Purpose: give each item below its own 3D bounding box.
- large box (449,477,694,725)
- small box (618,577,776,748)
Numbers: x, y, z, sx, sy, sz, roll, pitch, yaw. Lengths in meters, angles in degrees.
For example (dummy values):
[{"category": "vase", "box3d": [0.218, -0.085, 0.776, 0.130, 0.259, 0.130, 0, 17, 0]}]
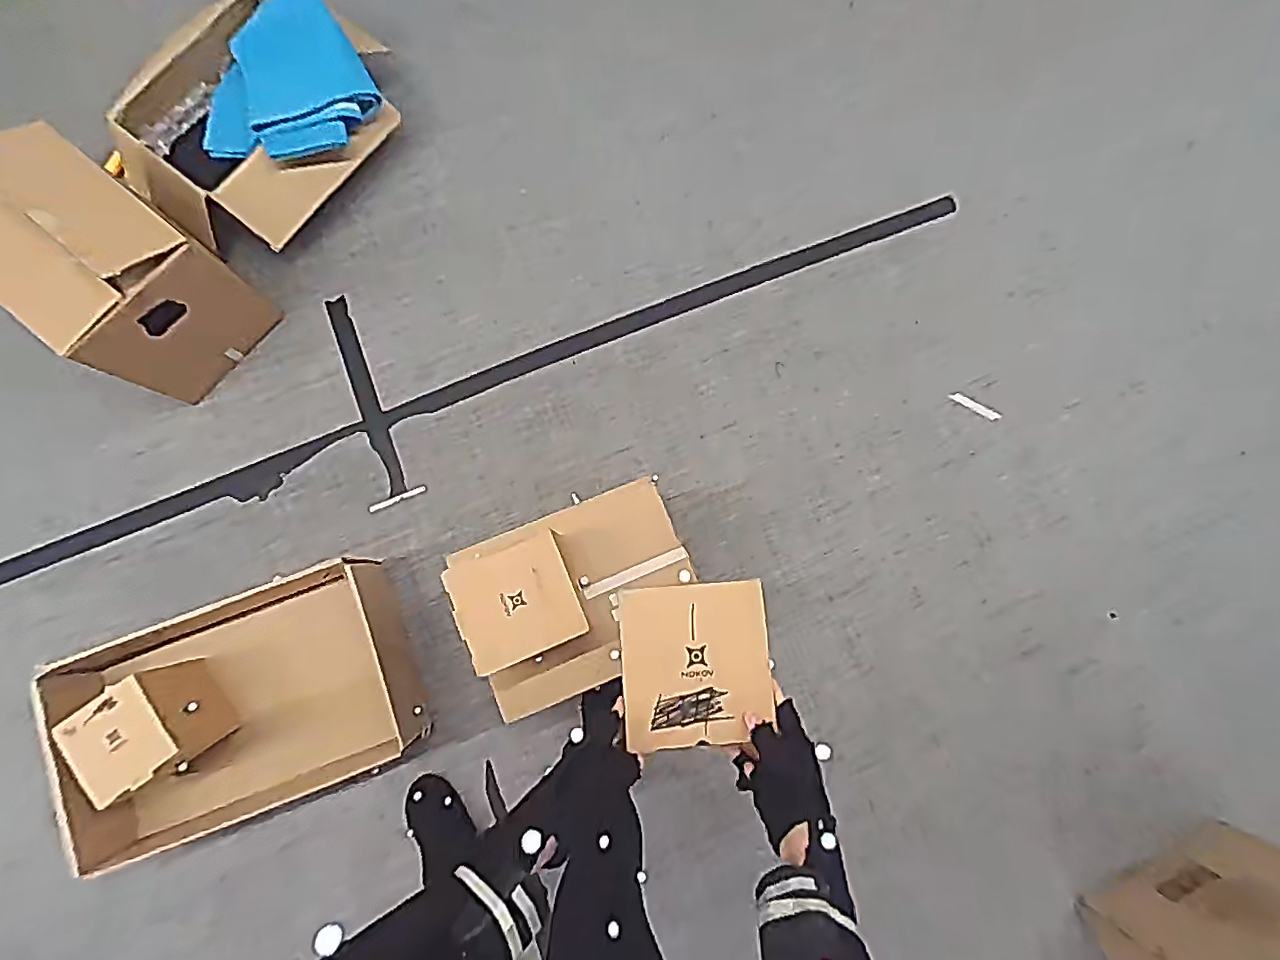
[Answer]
[{"category": "large box", "box3d": [-0.112, 0.235, 1.112, 0.408, 0.320, 0.320, -22, 83, -7]}, {"category": "small box", "box3d": [0.062, 0.215, 0.678, 0.168, 0.176, 0.179, -4, 78, -2]}]
